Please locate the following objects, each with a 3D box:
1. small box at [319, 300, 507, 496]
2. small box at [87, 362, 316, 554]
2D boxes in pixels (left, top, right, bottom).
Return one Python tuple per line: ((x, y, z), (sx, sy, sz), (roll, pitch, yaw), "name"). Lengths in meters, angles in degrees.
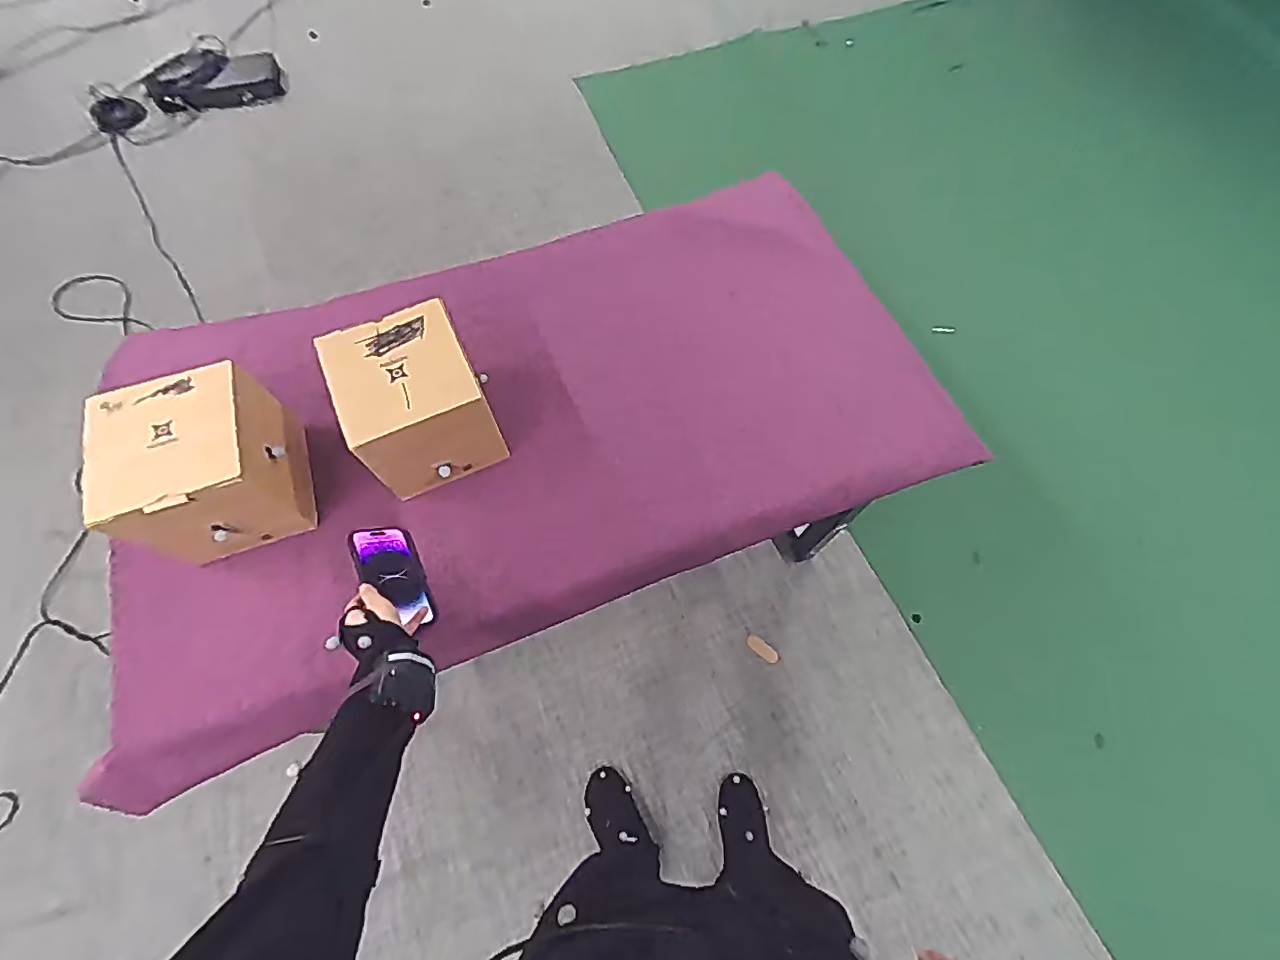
((-0.302, -0.106, 0.745), (0.168, 0.176, 0.179), (-24, 69, -11), "small box")
((-0.551, -0.016, 0.701), (0.168, 0.176, 0.179), (-19, 68, -9), "small box")
